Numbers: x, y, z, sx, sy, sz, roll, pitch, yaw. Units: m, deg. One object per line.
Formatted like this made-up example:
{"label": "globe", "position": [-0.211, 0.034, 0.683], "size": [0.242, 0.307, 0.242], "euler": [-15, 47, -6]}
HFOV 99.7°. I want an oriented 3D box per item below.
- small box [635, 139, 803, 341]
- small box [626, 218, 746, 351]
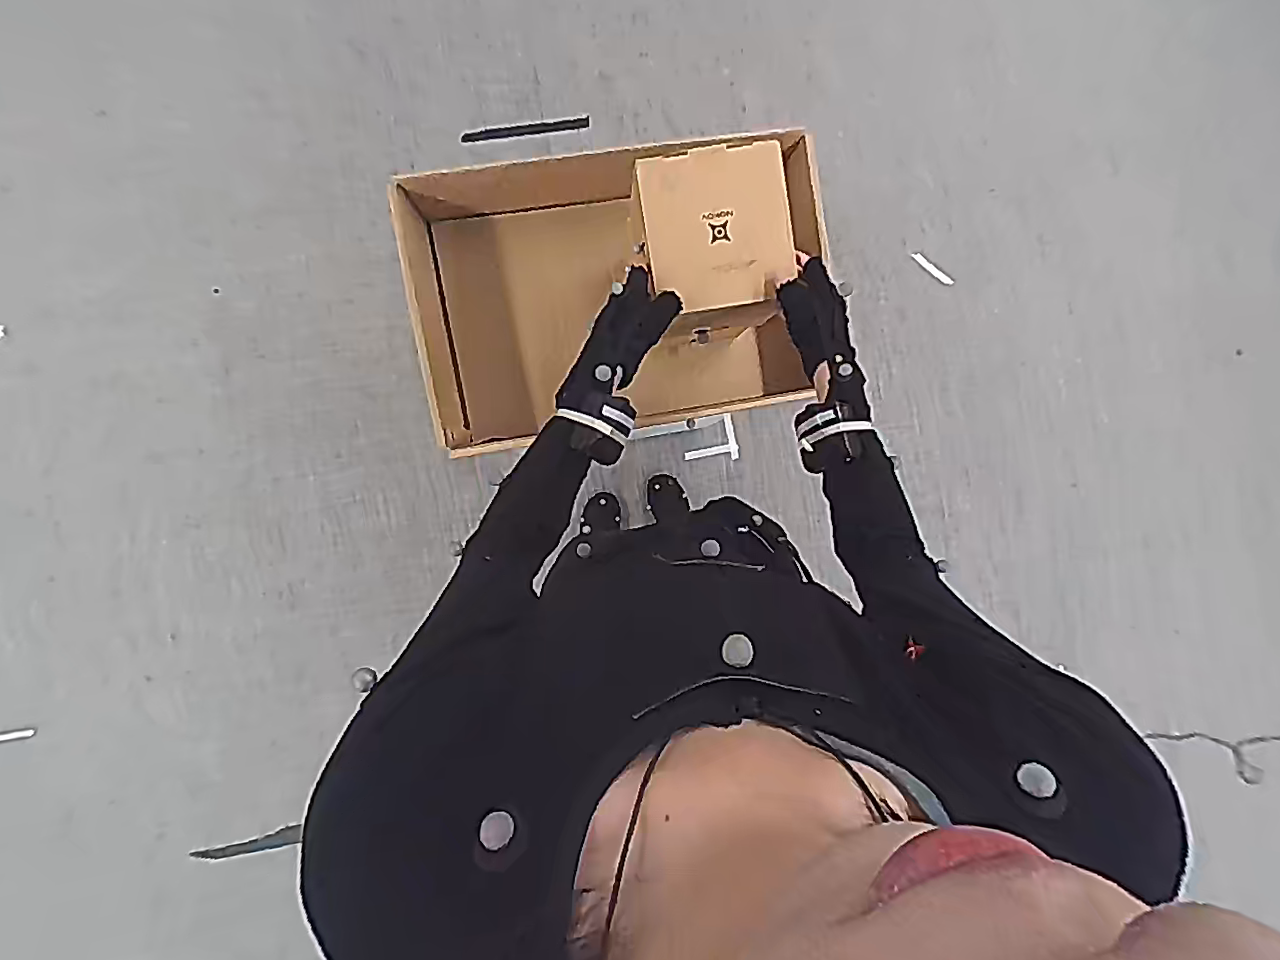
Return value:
{"label": "small box", "position": [0.088, -0.288, 0.683], "size": [0.168, 0.176, 0.179], "euler": [-10, 95, -1]}
{"label": "small box", "position": [0.079, -0.306, 0.845], "size": [0.179, 0.176, 0.168], "euler": [-10, 94, -3]}
